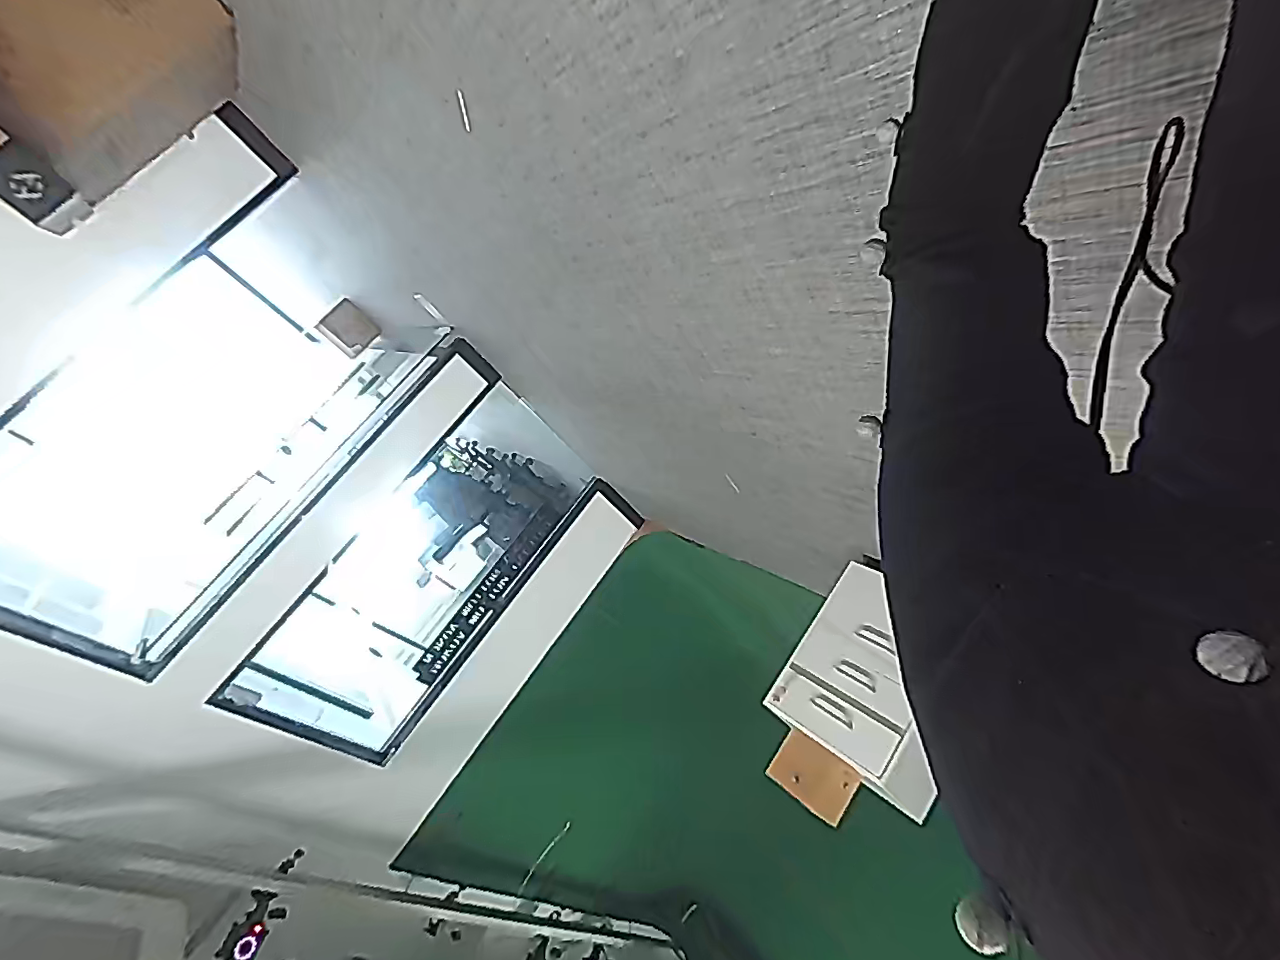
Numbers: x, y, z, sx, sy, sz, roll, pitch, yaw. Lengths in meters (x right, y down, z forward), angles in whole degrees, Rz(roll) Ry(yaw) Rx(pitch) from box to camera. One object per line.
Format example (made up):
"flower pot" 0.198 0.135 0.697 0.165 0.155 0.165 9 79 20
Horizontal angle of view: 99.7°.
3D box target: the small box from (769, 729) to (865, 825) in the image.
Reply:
"small box" 0.525 0.866 1.599 0.168 0.176 0.179 46 164 -32
